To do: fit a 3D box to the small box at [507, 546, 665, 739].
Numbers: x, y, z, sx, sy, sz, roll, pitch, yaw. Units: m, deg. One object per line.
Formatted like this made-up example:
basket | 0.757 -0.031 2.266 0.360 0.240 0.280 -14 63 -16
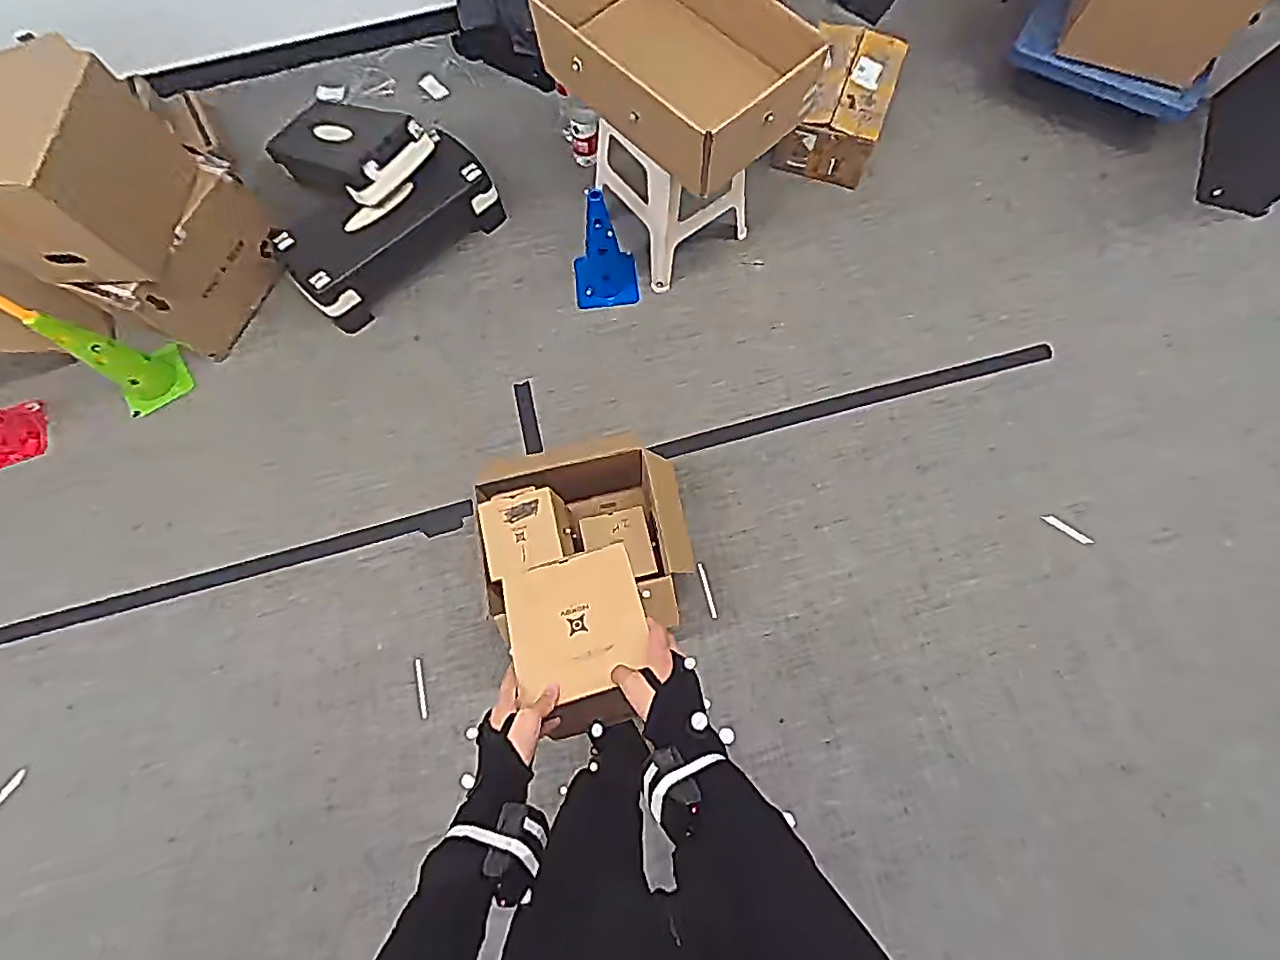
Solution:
small box | -0.069 0.220 0.723 0.168 0.176 0.179 -15 54 -4
